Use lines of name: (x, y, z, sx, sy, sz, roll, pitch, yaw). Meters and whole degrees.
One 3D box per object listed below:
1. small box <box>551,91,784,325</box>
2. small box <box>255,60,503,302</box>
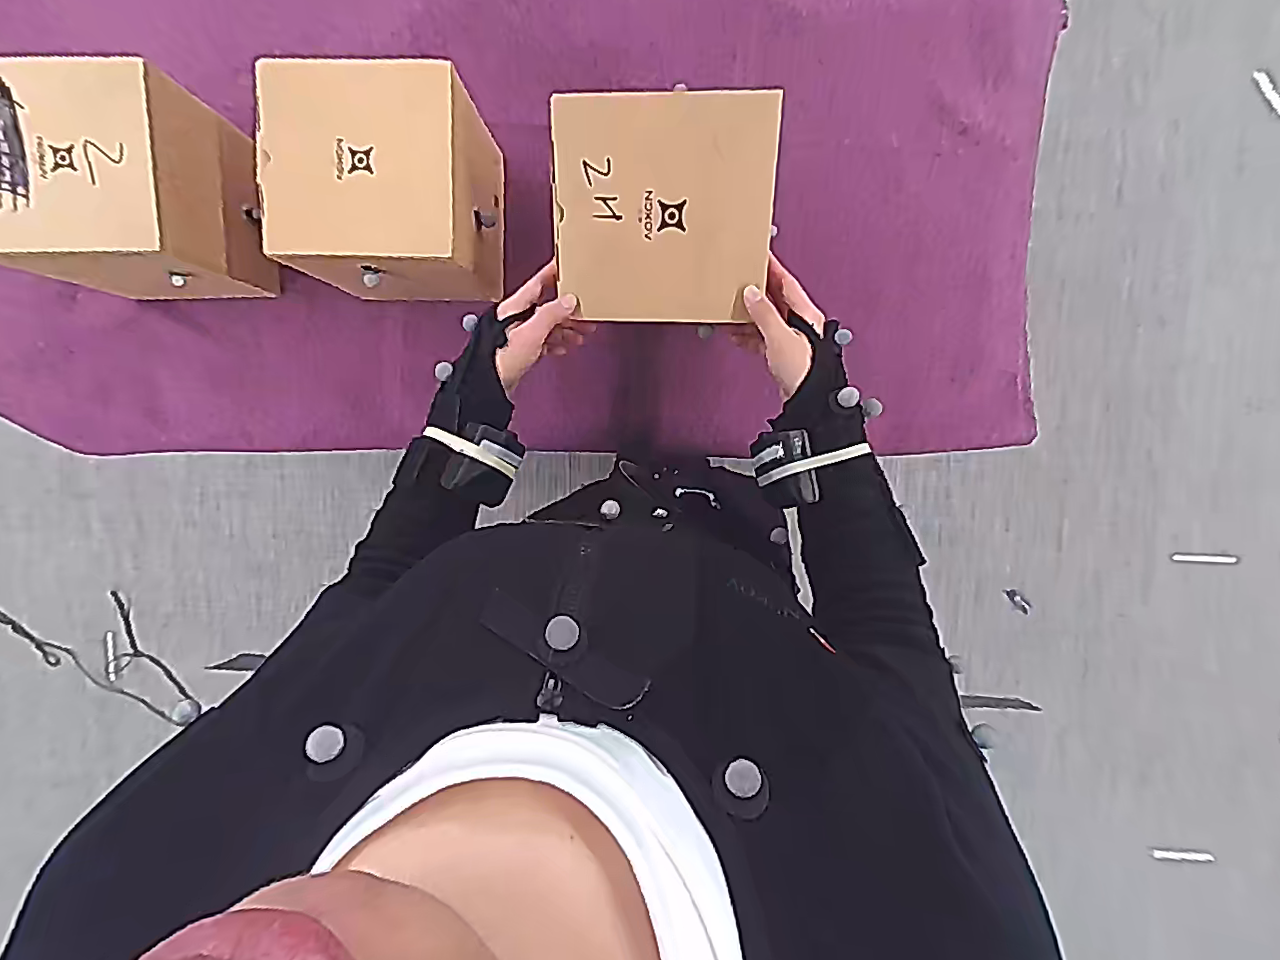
small box: (0.025, -0.238, 0.501, 0.179, 0.176, 0.168, 3, 110, 5)
small box: (-0.245, -0.285, 0.551, 0.179, 0.176, 0.168, 2, 95, 3)
